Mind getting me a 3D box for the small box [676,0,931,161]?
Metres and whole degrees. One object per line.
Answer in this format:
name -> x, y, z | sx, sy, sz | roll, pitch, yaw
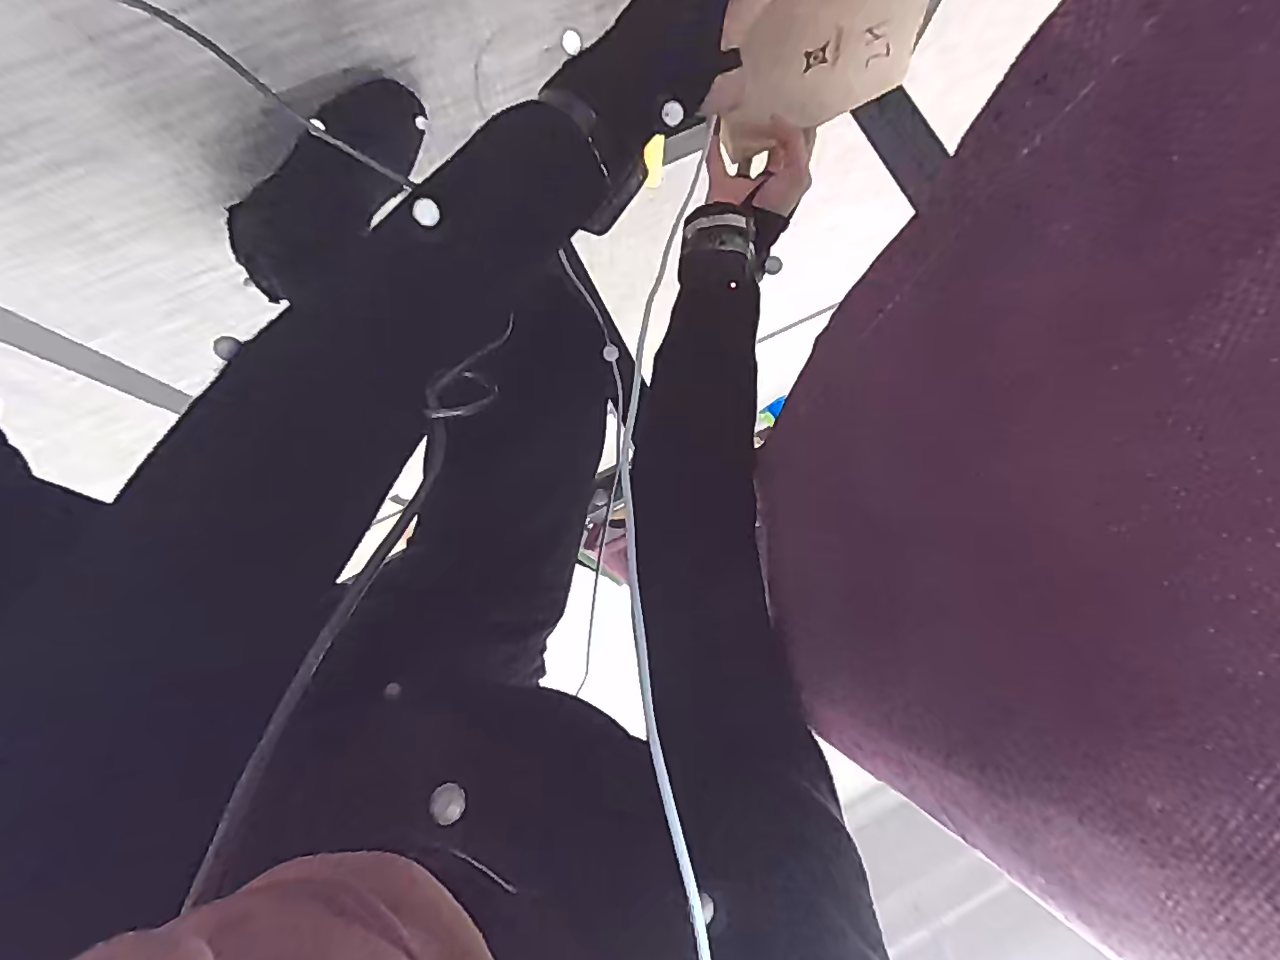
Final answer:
small box -> 0.127, -0.431, 0.460 | 0.179, 0.176, 0.168 | -22, 170, 10
